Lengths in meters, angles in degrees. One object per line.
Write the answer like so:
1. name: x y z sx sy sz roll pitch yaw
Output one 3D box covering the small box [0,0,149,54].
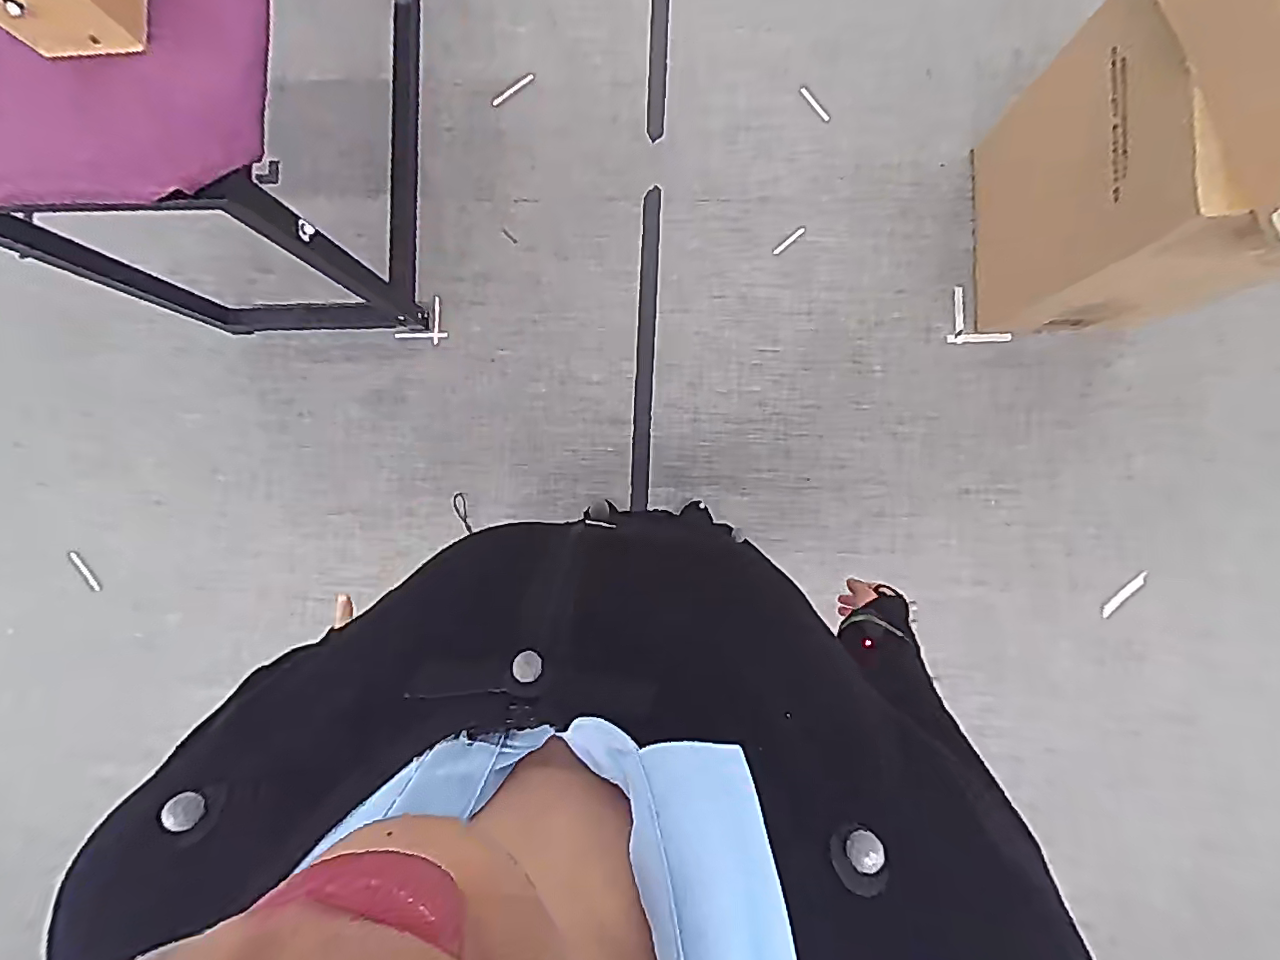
1. small box: -0.838 -0.738 0.756 0.168 0.176 0.179 -2 88 2
